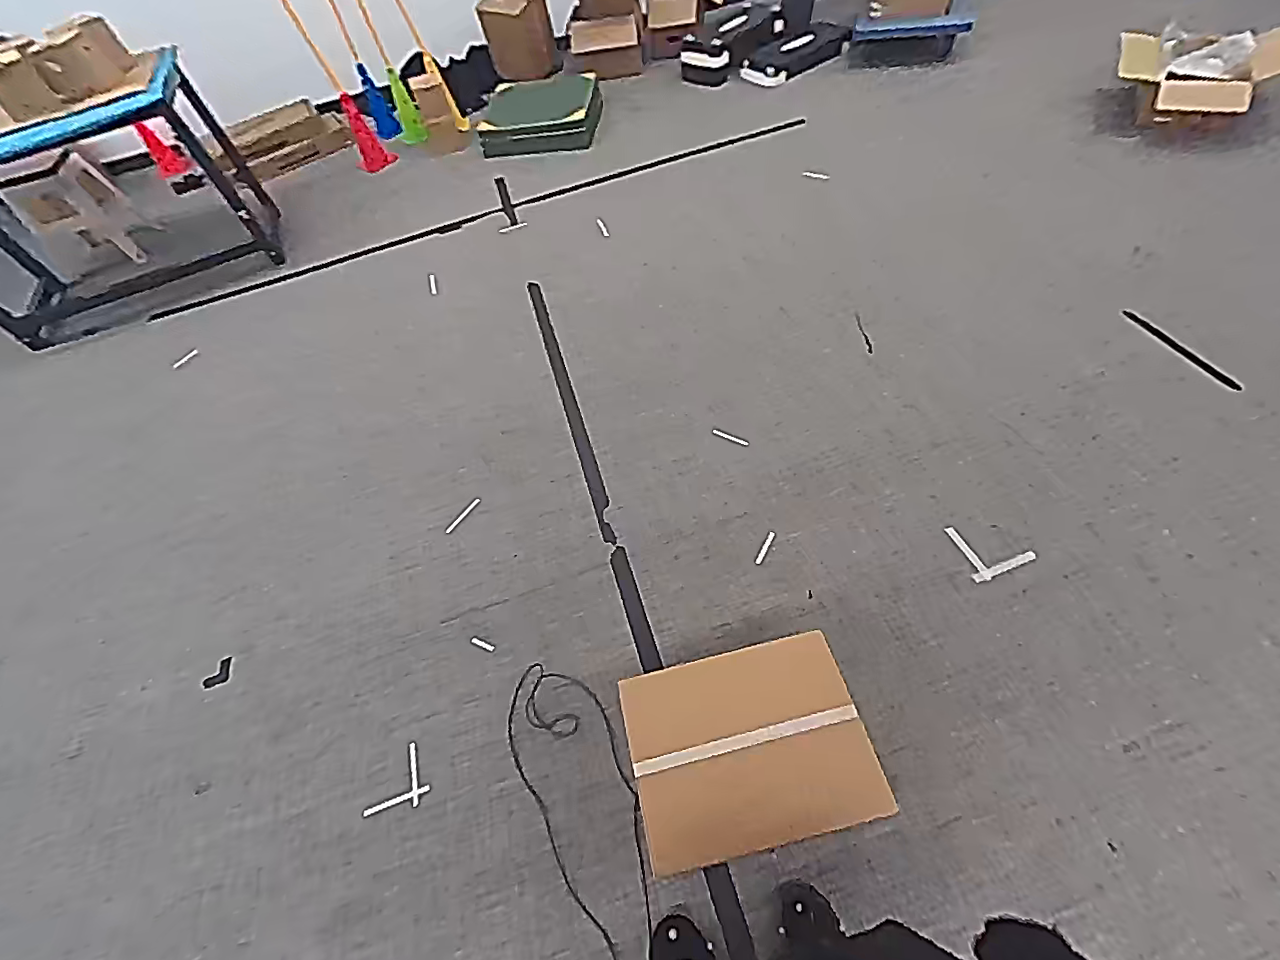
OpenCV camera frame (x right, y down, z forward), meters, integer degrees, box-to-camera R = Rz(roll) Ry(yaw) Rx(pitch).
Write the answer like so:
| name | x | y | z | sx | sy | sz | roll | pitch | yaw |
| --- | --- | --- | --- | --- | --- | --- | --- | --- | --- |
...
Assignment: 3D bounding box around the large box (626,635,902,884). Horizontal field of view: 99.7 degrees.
| name | x | y | z | sx | sy | sz | roll | pitch | yaw |
| --- | --- | --- | --- | --- | --- | --- | --- | --- | --- |
| large box | 0.214 | 0.551 | 1.058 | 0.408 | 0.320 | 0.320 | -14 | 54 | -1 |
